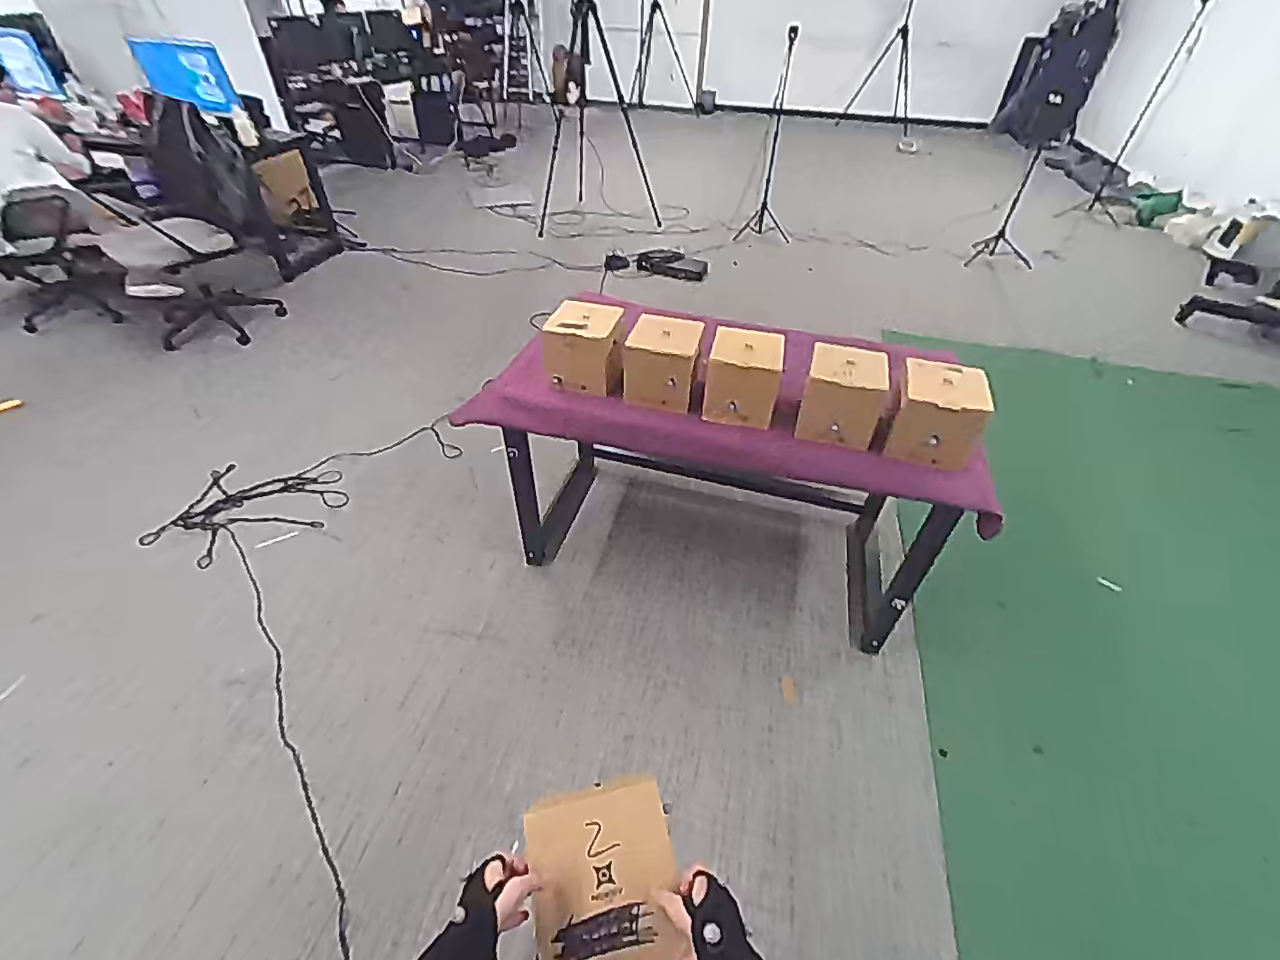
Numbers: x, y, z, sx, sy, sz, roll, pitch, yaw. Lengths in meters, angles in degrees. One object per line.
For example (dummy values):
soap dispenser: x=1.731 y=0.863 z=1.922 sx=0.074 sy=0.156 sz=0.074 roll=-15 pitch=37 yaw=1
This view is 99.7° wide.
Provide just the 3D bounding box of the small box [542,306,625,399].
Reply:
small box: x=-0.138 y=-0.329 z=1.401 sx=0.168 sy=0.176 sz=0.179 roll=11 pitch=43 yaw=10
